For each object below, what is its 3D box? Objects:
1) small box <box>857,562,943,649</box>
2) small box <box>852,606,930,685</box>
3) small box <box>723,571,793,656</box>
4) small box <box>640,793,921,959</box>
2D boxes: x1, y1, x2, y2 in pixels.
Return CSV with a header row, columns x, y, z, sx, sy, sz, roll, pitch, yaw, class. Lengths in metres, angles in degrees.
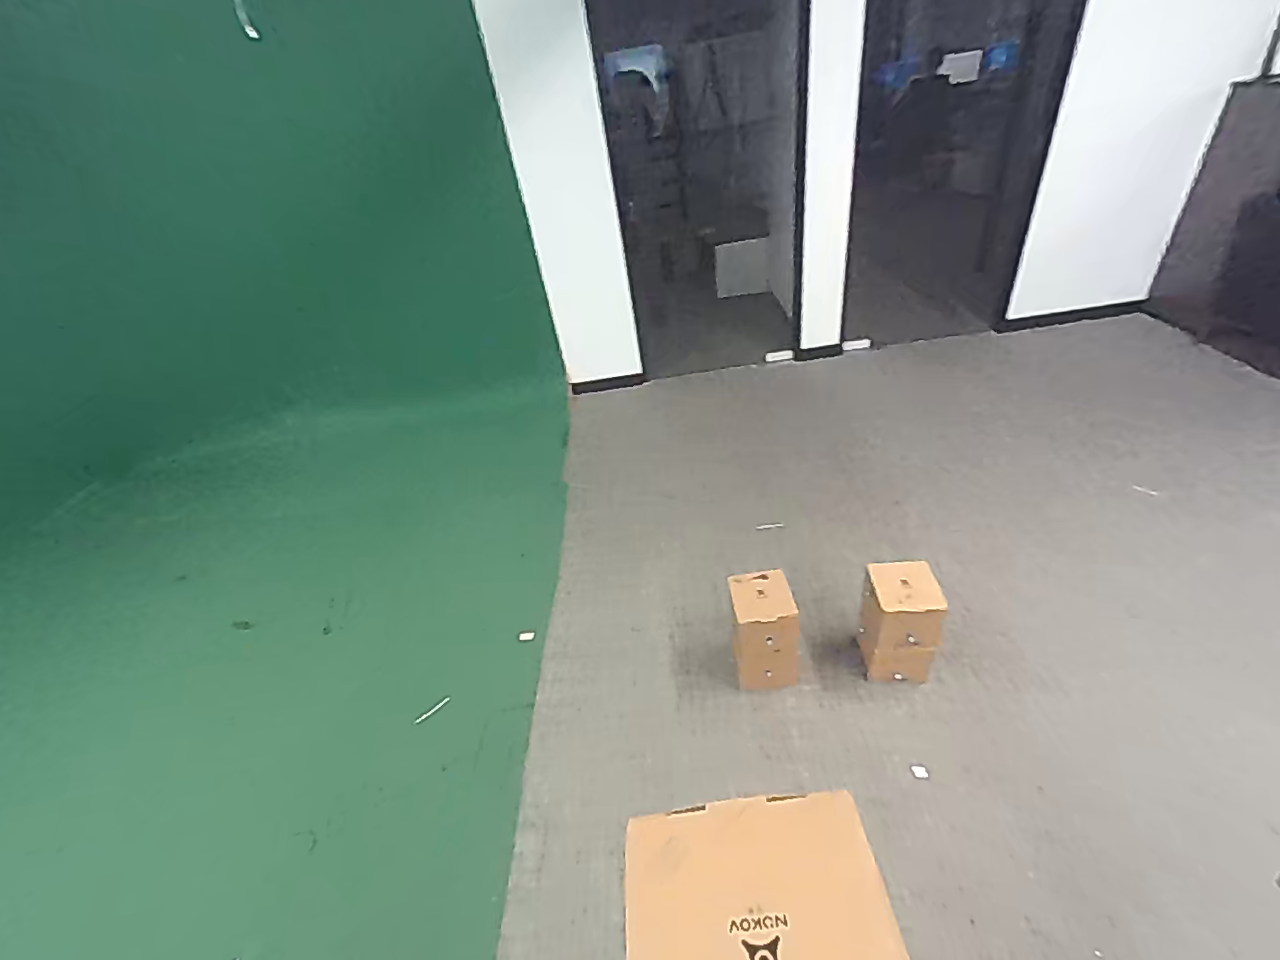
x,y,z,sx,sy,sz,roll,pitch,yaw,class
0.723,0.355,1.526,0.168,0.176,0.179,-5,37,8,small box
0.743,0.488,1.622,0.168,0.176,0.179,-3,38,9,small box
0.340,0.392,1.565,0.168,0.176,0.179,-9,37,2,small box
0.093,0.348,0.364,0.168,0.176,0.179,-9,33,4,small box
